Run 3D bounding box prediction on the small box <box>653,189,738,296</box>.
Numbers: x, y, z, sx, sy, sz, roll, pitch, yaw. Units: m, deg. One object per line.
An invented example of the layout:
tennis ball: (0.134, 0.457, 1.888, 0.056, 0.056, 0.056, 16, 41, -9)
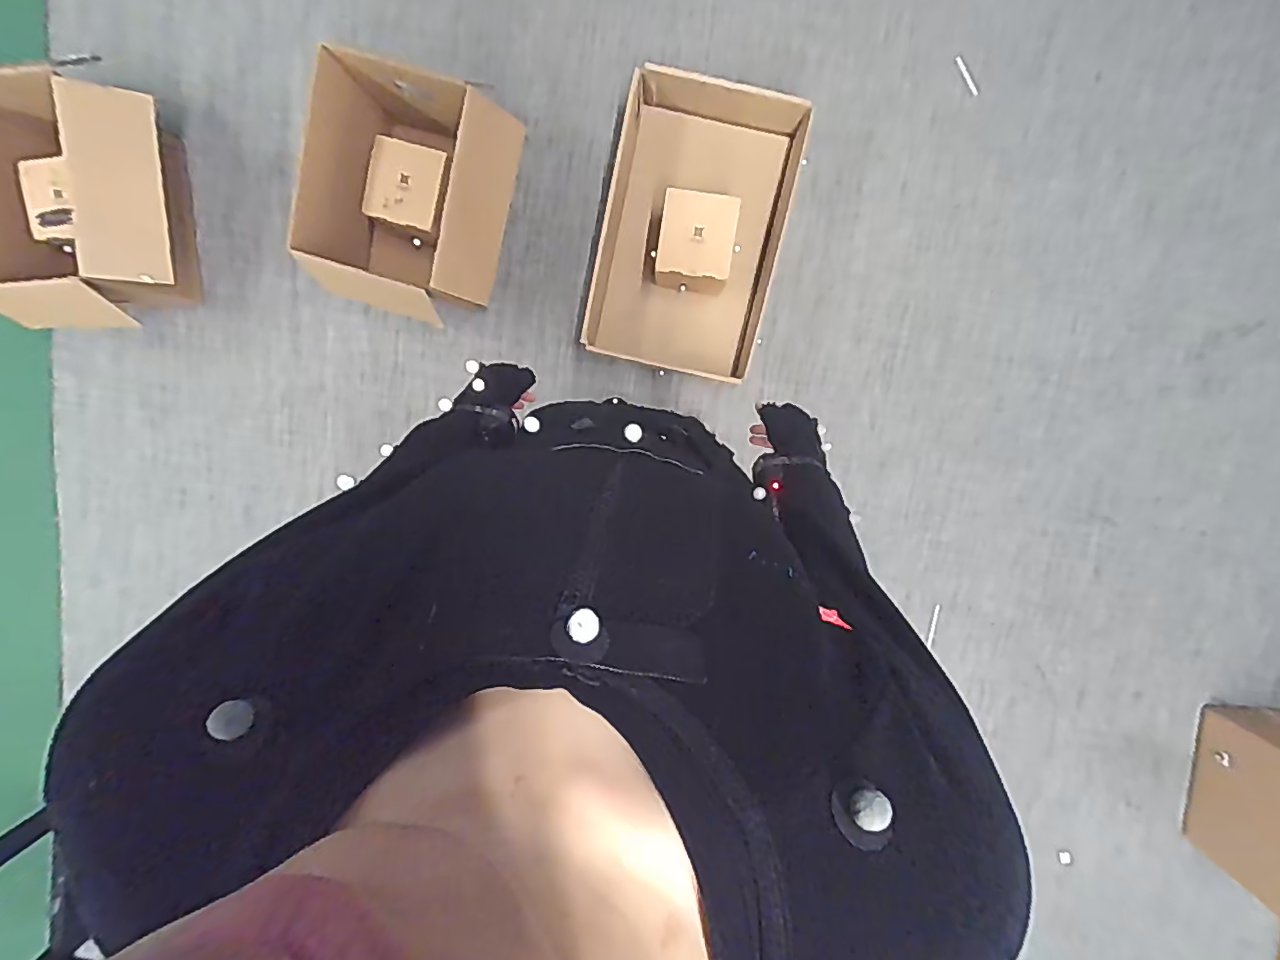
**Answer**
small box: (0.122, -0.544, 1.257, 0.168, 0.176, 0.179, 8, 98, 1)
